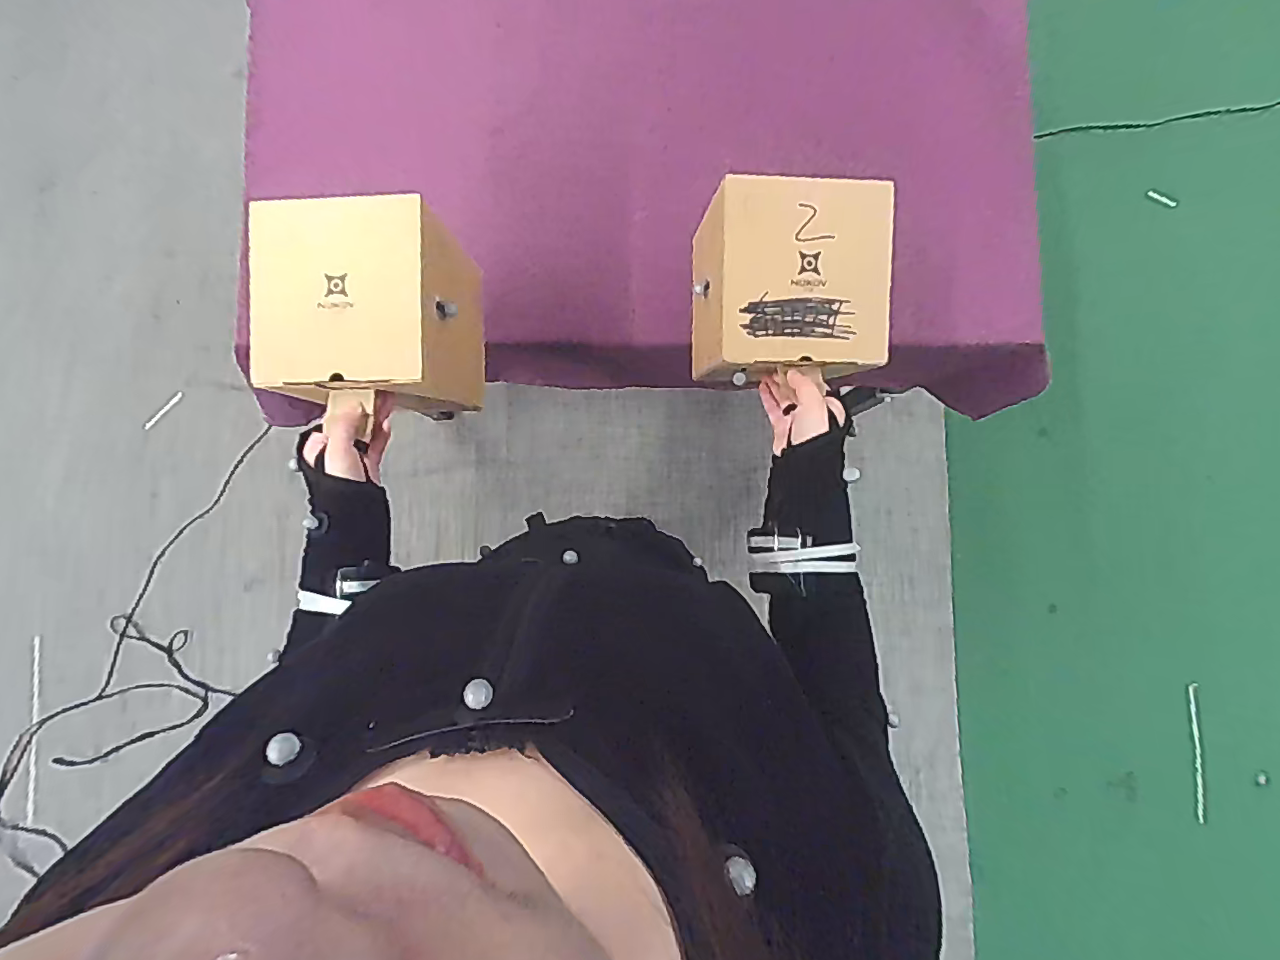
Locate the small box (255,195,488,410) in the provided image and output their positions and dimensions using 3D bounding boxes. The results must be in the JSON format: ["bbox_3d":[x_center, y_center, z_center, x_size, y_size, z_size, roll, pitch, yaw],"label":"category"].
[{"bbox_3d":[-0.269,-0.174,0.577,0.168,0.176,0.179,0,90,2],"label":"small box"}]
